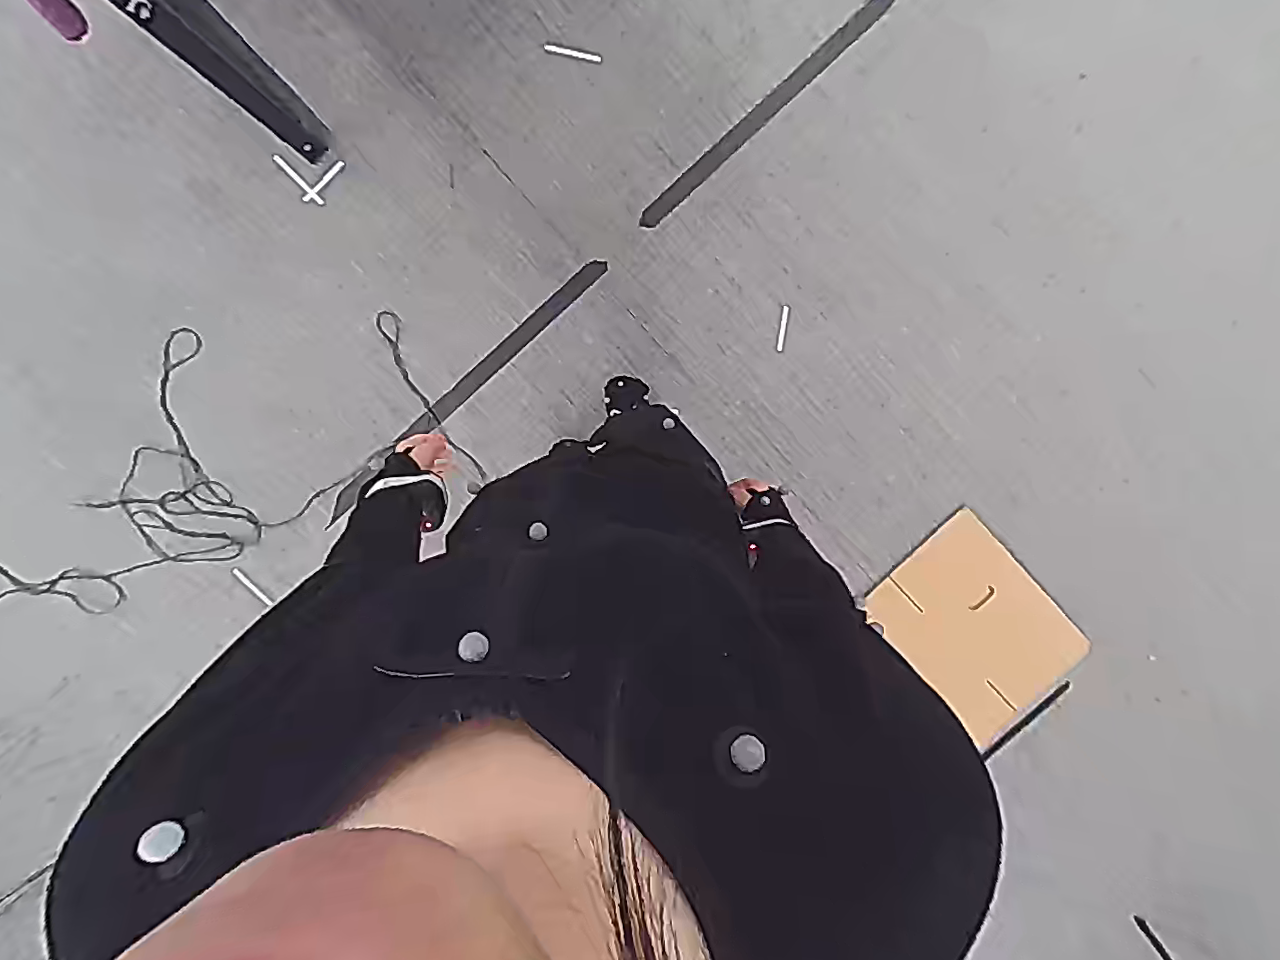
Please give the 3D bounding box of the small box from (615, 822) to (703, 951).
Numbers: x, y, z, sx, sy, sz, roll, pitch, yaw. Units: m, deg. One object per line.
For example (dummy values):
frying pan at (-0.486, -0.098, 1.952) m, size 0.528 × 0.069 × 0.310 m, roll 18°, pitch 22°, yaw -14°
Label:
small box at (0.037, 0.912, 1.224) m, size 0.179 × 0.176 × 0.168 m, roll 5°, pitch 96°, yaw -2°
